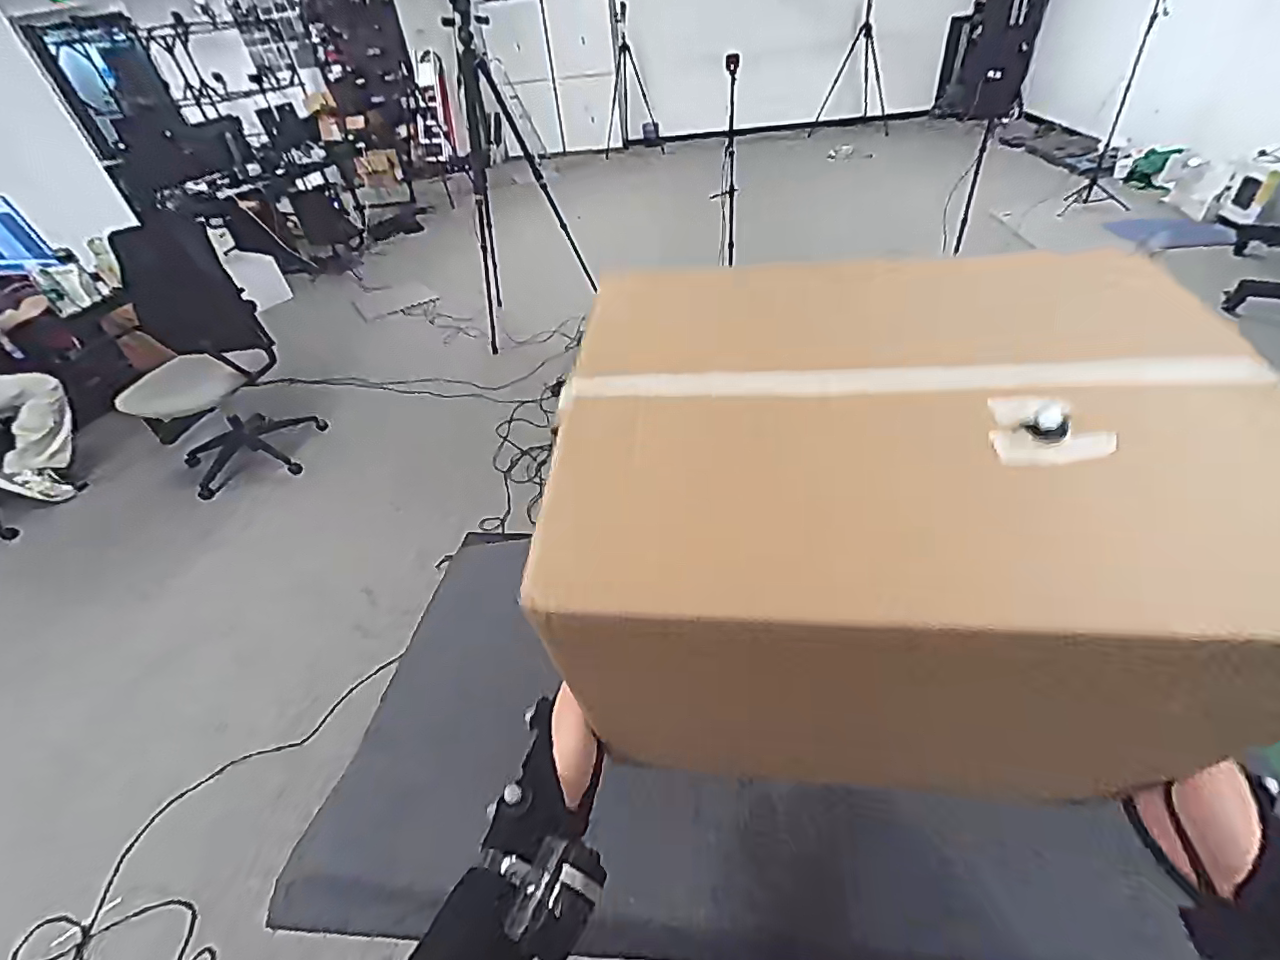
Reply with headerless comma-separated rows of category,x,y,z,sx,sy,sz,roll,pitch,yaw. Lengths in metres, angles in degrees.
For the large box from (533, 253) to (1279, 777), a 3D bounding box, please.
large box,0.164,0.039,0.457,0.408,0.320,0.320,0,51,8
